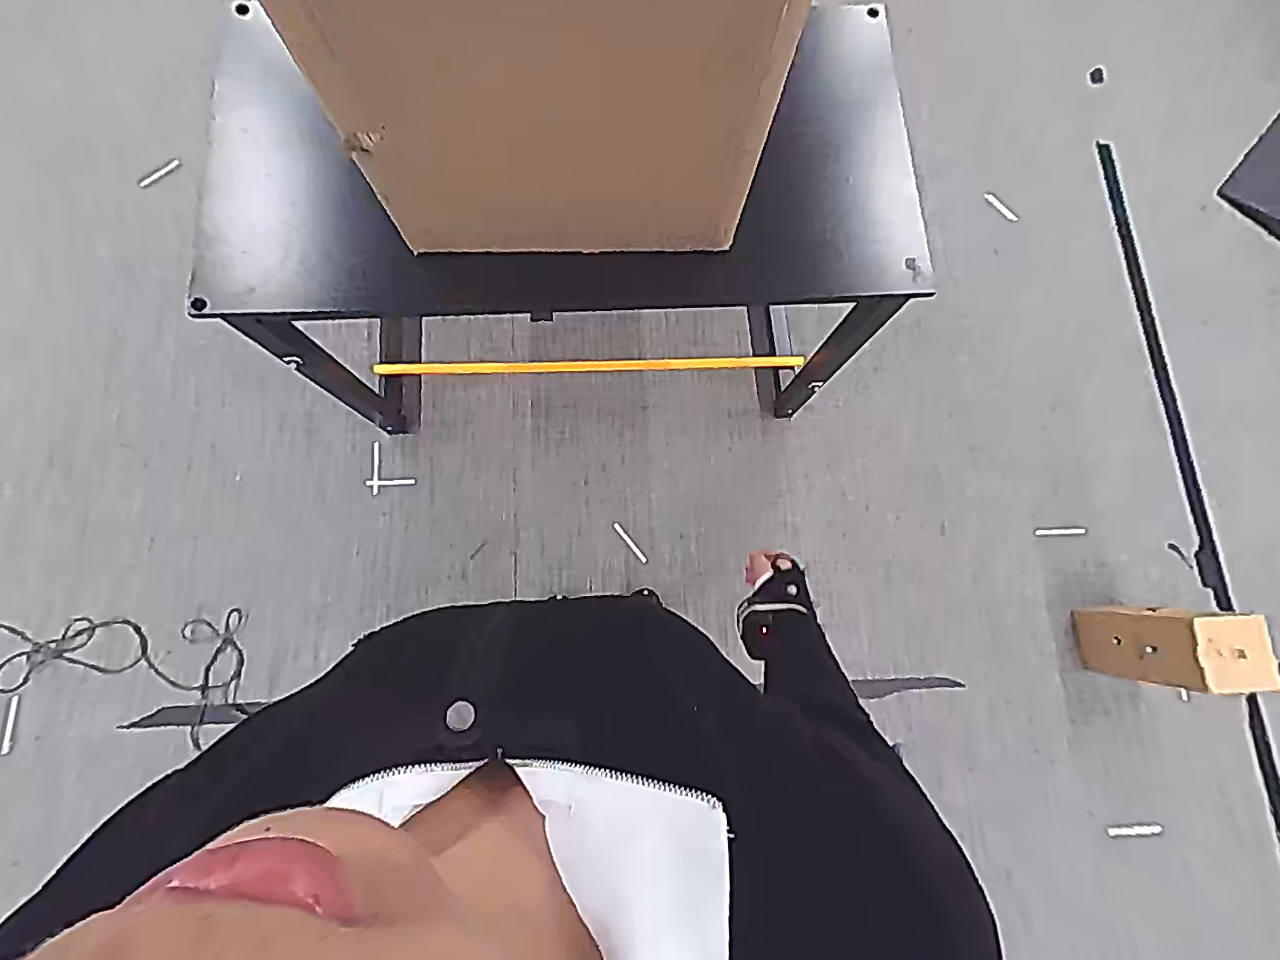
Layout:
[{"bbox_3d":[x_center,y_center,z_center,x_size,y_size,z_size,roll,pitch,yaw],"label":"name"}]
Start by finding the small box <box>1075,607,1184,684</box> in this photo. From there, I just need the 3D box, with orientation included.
[{"bbox_3d":[1.325,0.438,1.453,0.168,0.176,0.179,-6,80,-4],"label":"small box"}]

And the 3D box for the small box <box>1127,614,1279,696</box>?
[{"bbox_3d":[1.334,0.410,1.291,0.179,0.176,0.168,-2,79,-3],"label":"small box"}]
